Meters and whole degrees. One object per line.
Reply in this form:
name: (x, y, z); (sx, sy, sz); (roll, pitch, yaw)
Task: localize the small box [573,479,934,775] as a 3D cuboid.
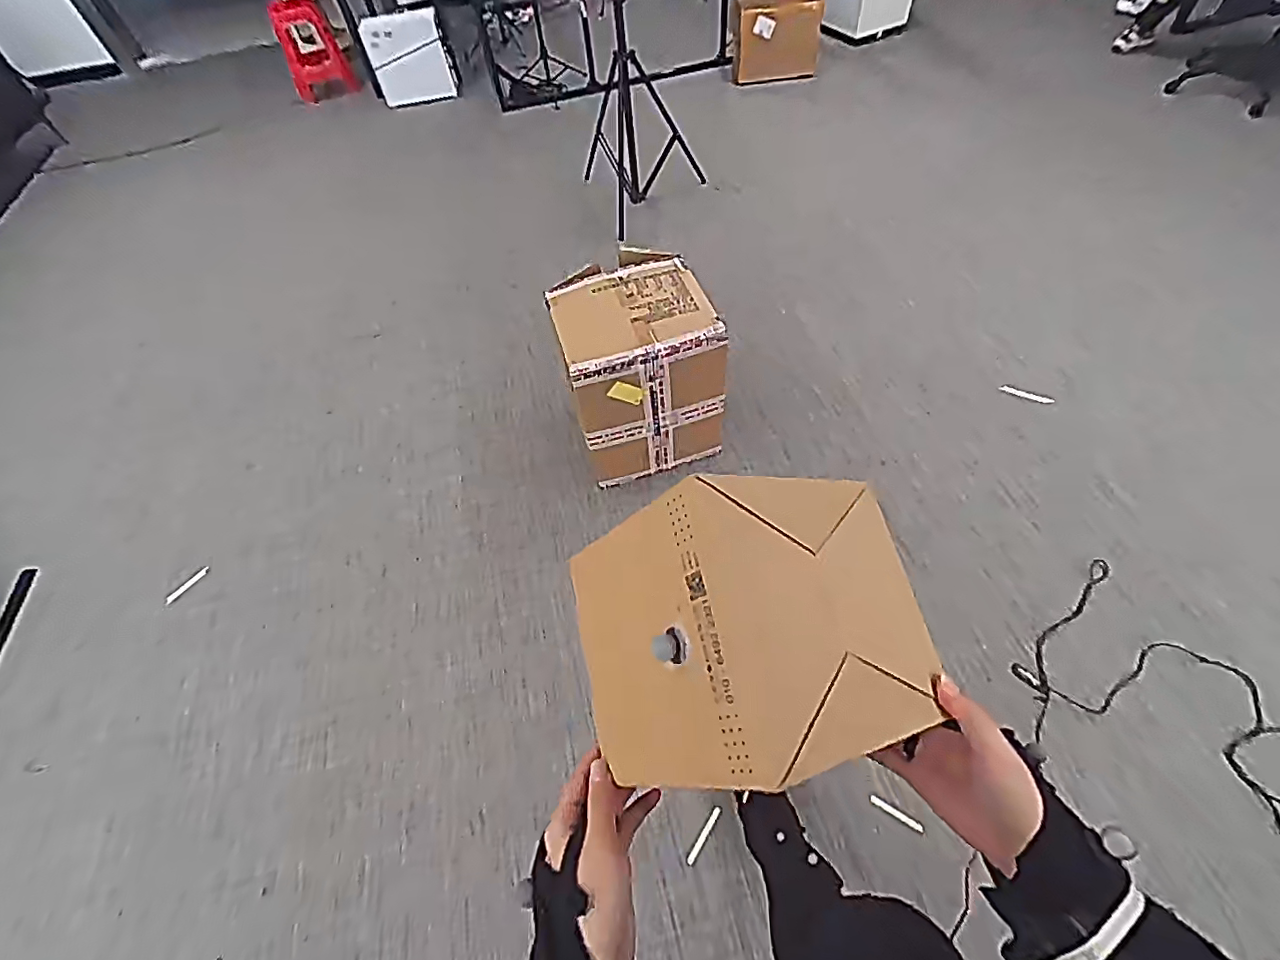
small box: (0.075, 0.107, 0.397); (0.179, 0.176, 0.168); (3, 64, -34)
